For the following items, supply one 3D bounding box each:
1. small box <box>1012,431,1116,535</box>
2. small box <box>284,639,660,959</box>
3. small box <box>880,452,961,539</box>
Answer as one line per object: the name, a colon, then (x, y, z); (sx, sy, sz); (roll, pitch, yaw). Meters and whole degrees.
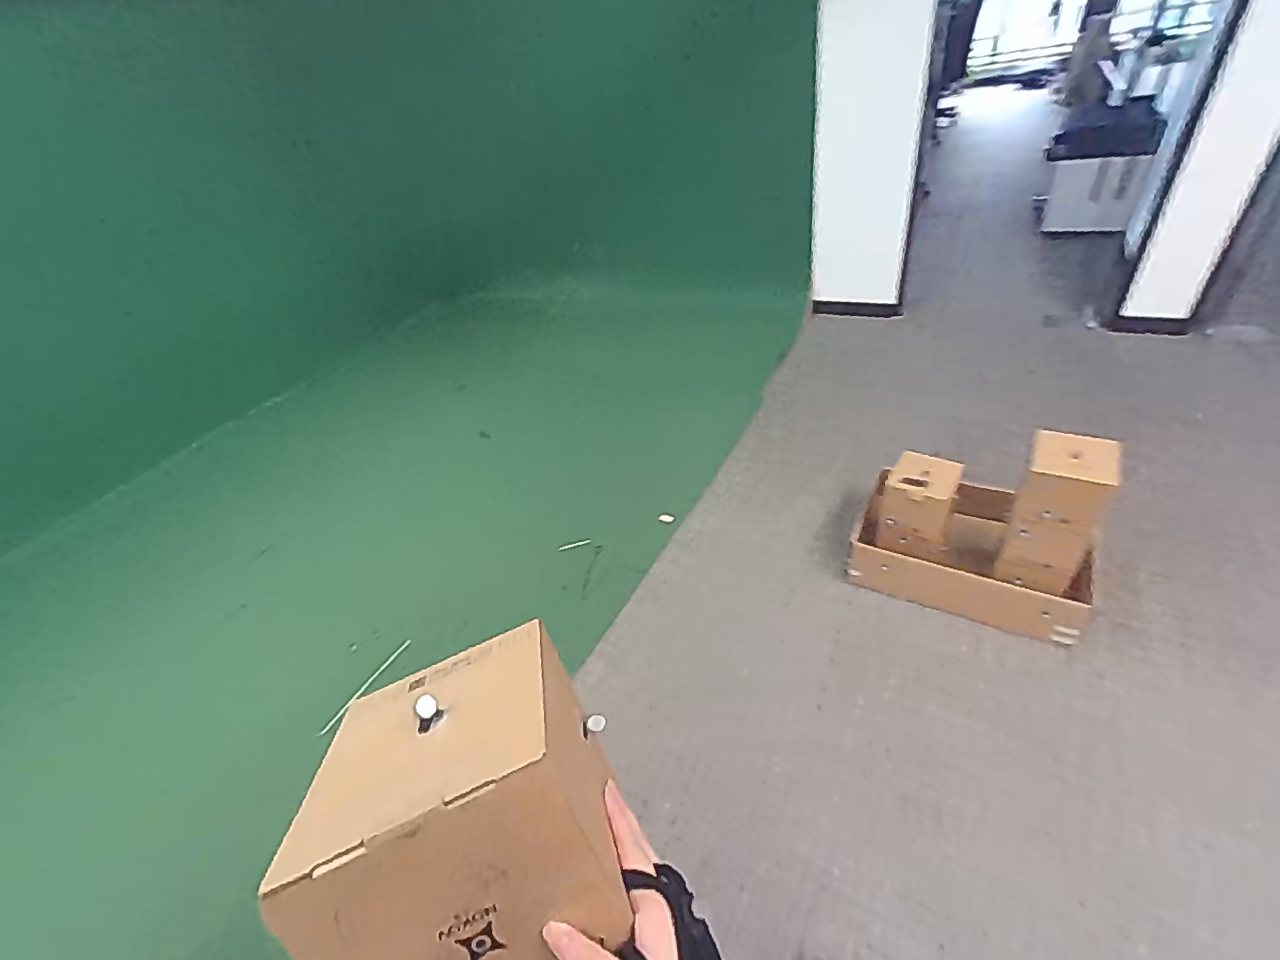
small box: (1.056, 0.006, 1.354); (0.168, 0.176, 0.179); (16, 48, 31)
small box: (-0.104, 0.241, 0.395); (0.168, 0.179, 0.176); (-22, 16, -5)
small box: (0.831, 0.048, 1.615); (0.168, 0.176, 0.179); (20, 49, 32)
